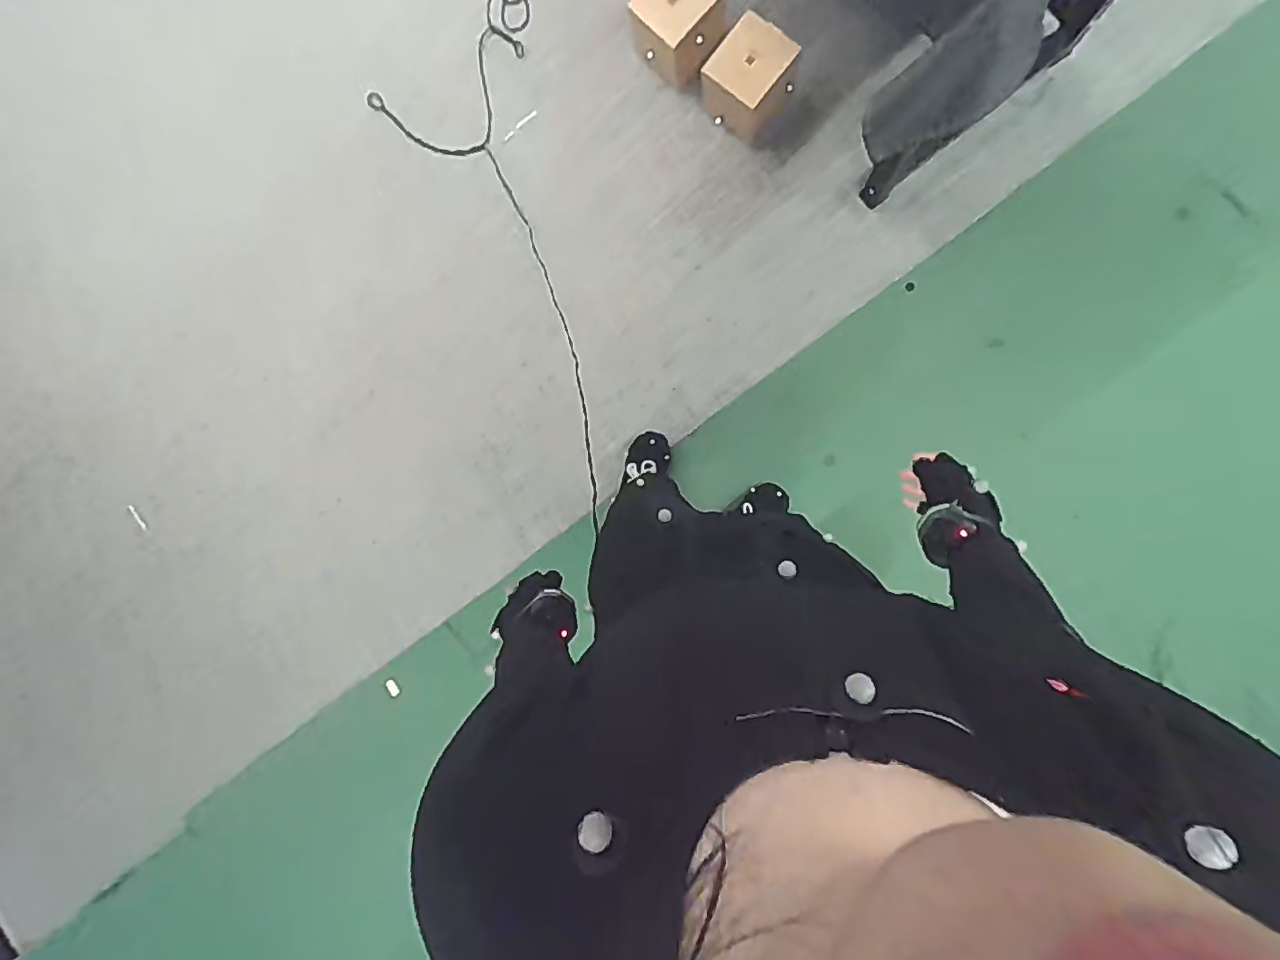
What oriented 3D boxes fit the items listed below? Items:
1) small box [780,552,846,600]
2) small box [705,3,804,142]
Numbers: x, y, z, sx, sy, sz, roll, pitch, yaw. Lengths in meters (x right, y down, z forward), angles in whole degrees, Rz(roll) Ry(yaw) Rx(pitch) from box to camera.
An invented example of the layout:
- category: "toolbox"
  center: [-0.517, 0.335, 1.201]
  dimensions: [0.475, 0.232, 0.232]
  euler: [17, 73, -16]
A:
- category: "small box"
  center: [0.475, 0.297, 1.371]
  dimensions: [0.168, 0.176, 0.179]
  euler: [-38, 86, 8]
- category: "small box"
  center: [0.276, -1.000, 1.342]
  dimensions: [0.168, 0.176, 0.179]
  euler: [42, 97, 5]
